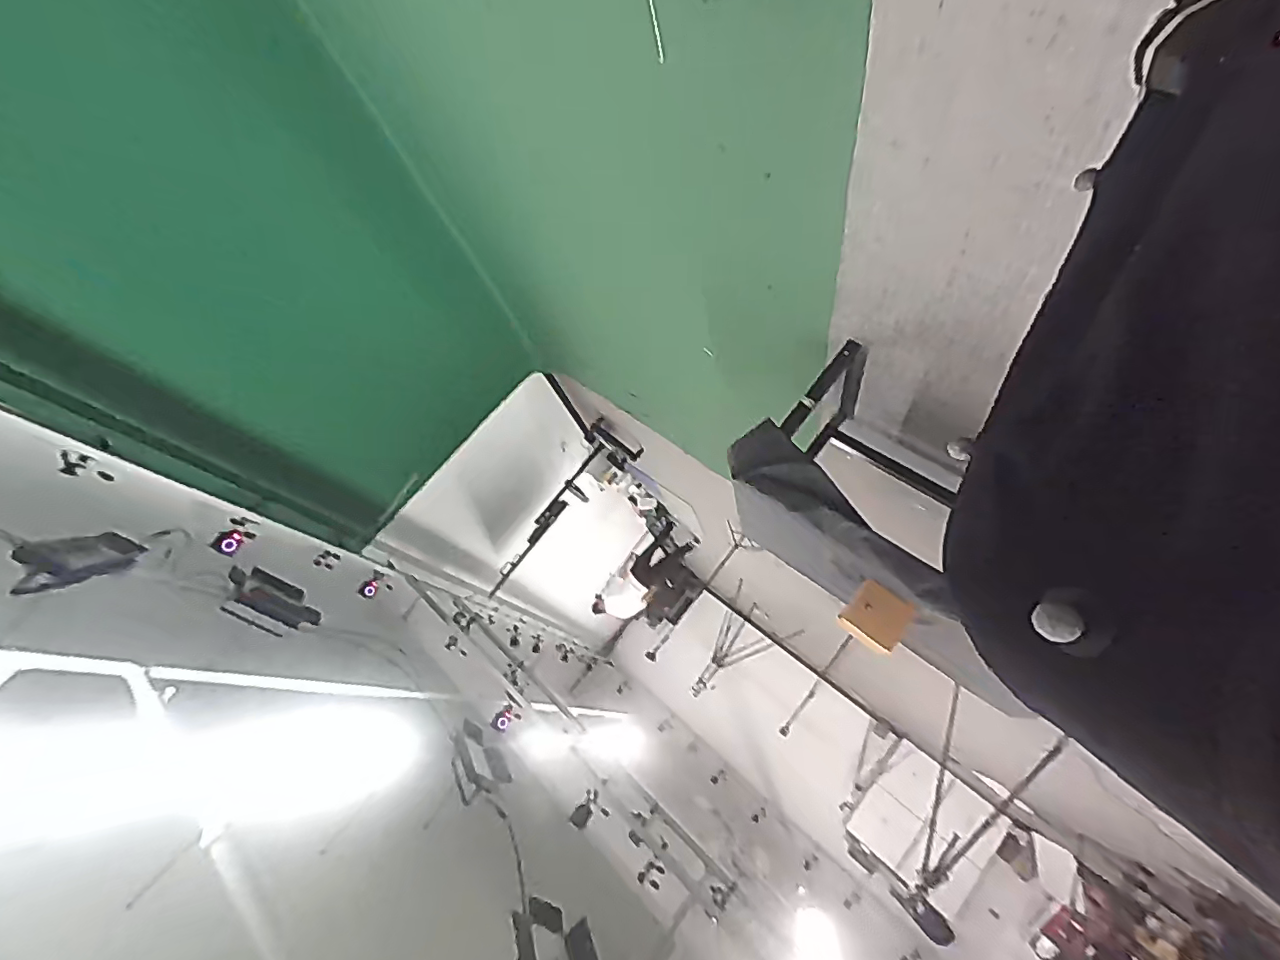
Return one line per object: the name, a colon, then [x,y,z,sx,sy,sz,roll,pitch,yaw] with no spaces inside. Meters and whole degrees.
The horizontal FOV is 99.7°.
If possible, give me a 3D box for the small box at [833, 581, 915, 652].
small box: [0.788,0.459,1.832,0.179,0.176,0.168,36,170,19]
